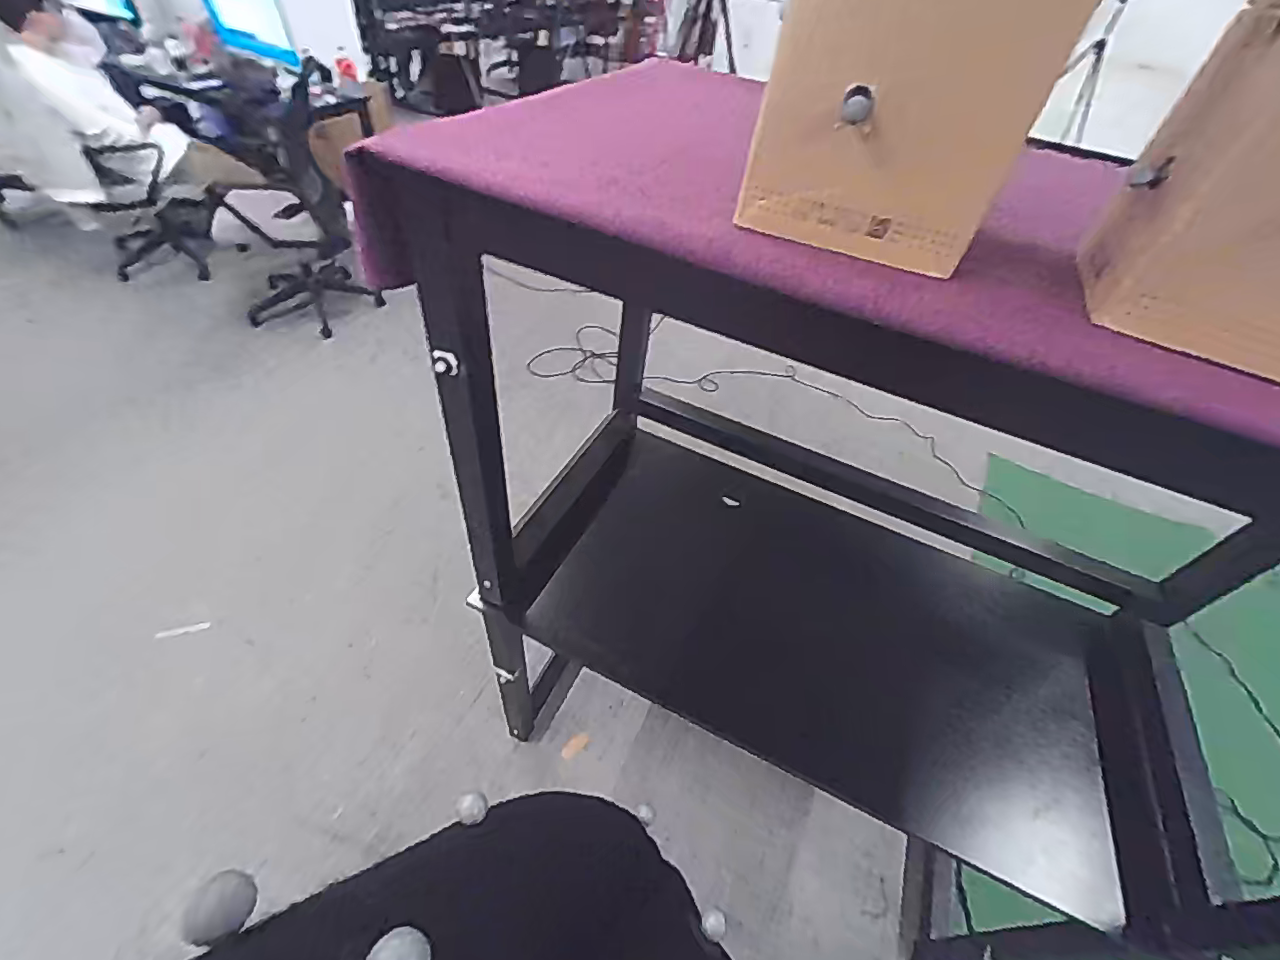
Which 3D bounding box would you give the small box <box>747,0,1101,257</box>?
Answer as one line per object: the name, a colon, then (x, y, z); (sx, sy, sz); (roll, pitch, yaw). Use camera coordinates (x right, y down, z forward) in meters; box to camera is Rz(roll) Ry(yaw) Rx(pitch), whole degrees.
small box: (0.186, -0.283, 0.385); (0.168, 0.176, 0.179); (21, 47, 9)
